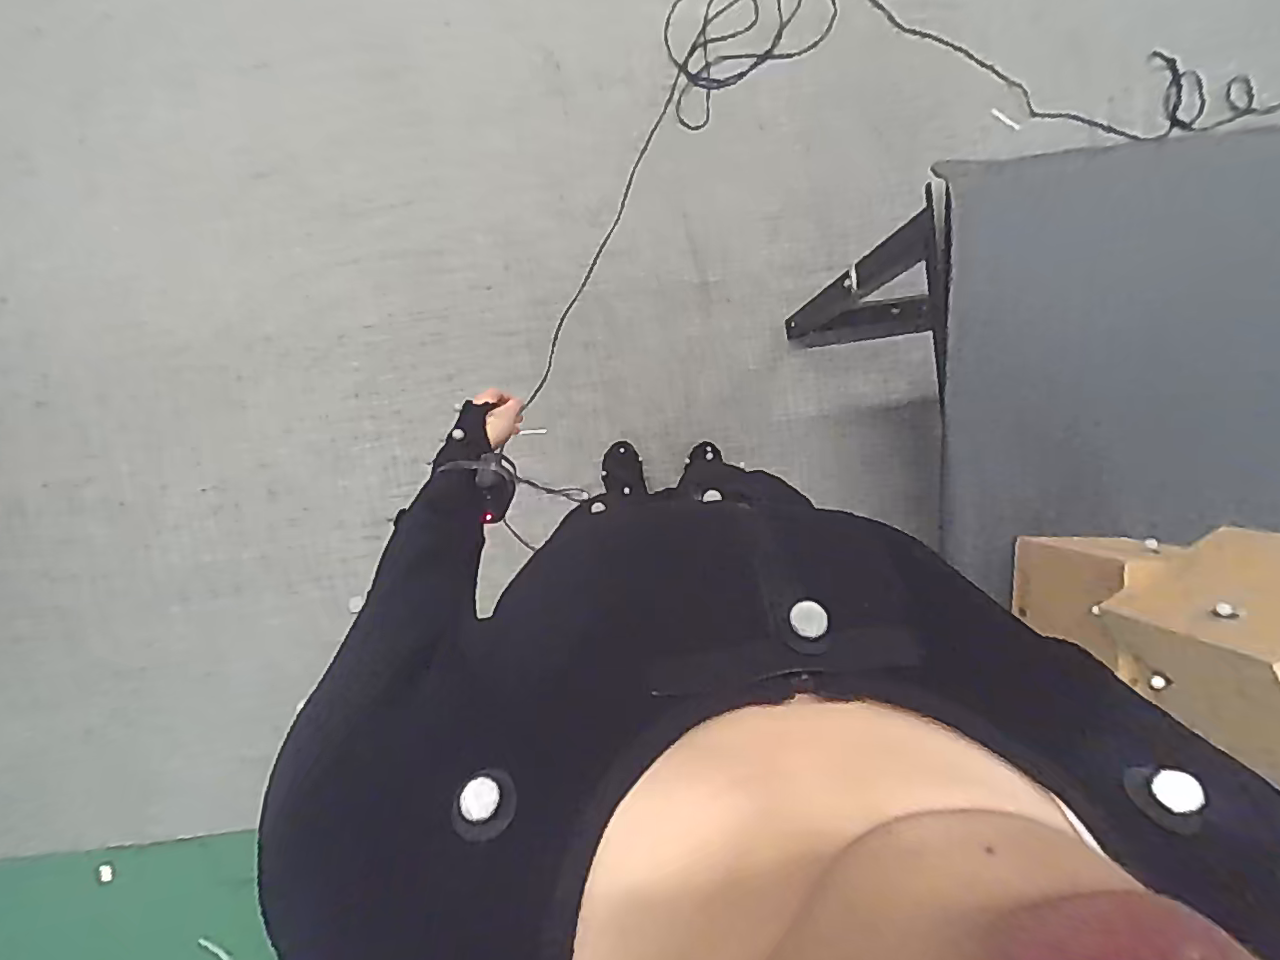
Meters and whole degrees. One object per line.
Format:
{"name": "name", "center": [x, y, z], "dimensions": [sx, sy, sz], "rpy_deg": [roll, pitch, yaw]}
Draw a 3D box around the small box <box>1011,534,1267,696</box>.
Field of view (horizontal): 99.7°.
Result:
{"name": "small box", "center": [0.630, 0.163, 0.702], "dimensions": [0.179, 0.176, 0.168], "rpy_deg": [1, 92, -4]}
